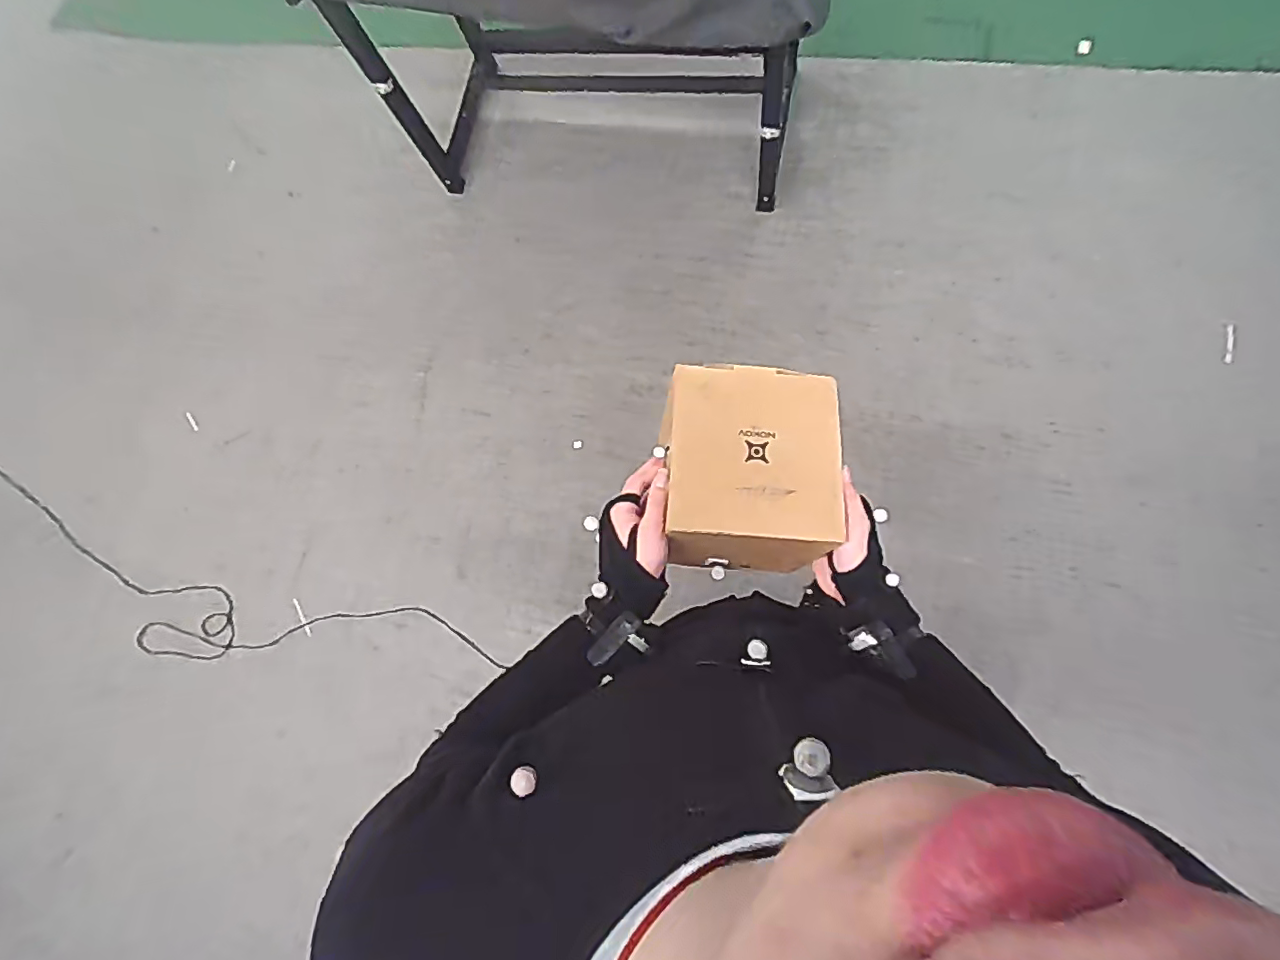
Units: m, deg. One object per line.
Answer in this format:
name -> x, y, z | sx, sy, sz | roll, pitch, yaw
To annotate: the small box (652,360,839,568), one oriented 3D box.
small box -> 0.104, -0.008, 0.600 | 0.168, 0.176, 0.179 | 5, 71, -2
